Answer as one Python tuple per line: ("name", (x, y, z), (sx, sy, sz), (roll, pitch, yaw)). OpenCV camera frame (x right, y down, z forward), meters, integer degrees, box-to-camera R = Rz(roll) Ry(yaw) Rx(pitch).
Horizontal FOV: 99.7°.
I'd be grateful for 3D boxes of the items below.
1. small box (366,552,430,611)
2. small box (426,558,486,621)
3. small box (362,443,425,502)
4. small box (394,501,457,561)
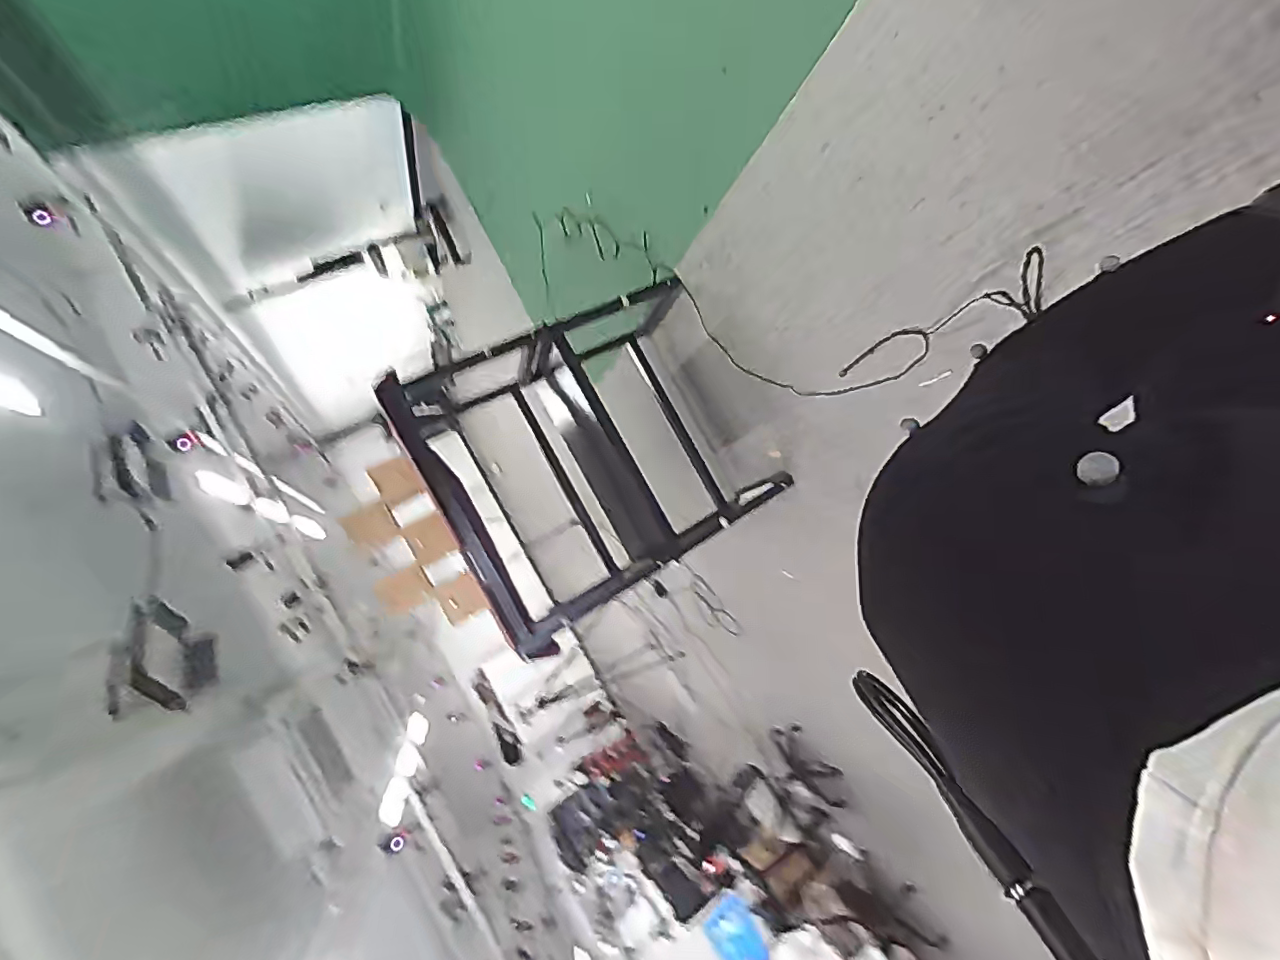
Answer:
("small box", (-0.916, 0.386, 2.072), (0.168, 0.176, 0.179), (62, 159, 1))
("small box", (-0.717, 0.424, 2.117), (0.179, 0.176, 0.168), (64, 159, -2))
("small box", (-0.965, -0.031, 2.131), (0.168, 0.176, 0.179), (63, 157, 0))
("small box", (-0.838, 0.197, 2.123), (0.179, 0.176, 0.168), (60, 159, 3))
